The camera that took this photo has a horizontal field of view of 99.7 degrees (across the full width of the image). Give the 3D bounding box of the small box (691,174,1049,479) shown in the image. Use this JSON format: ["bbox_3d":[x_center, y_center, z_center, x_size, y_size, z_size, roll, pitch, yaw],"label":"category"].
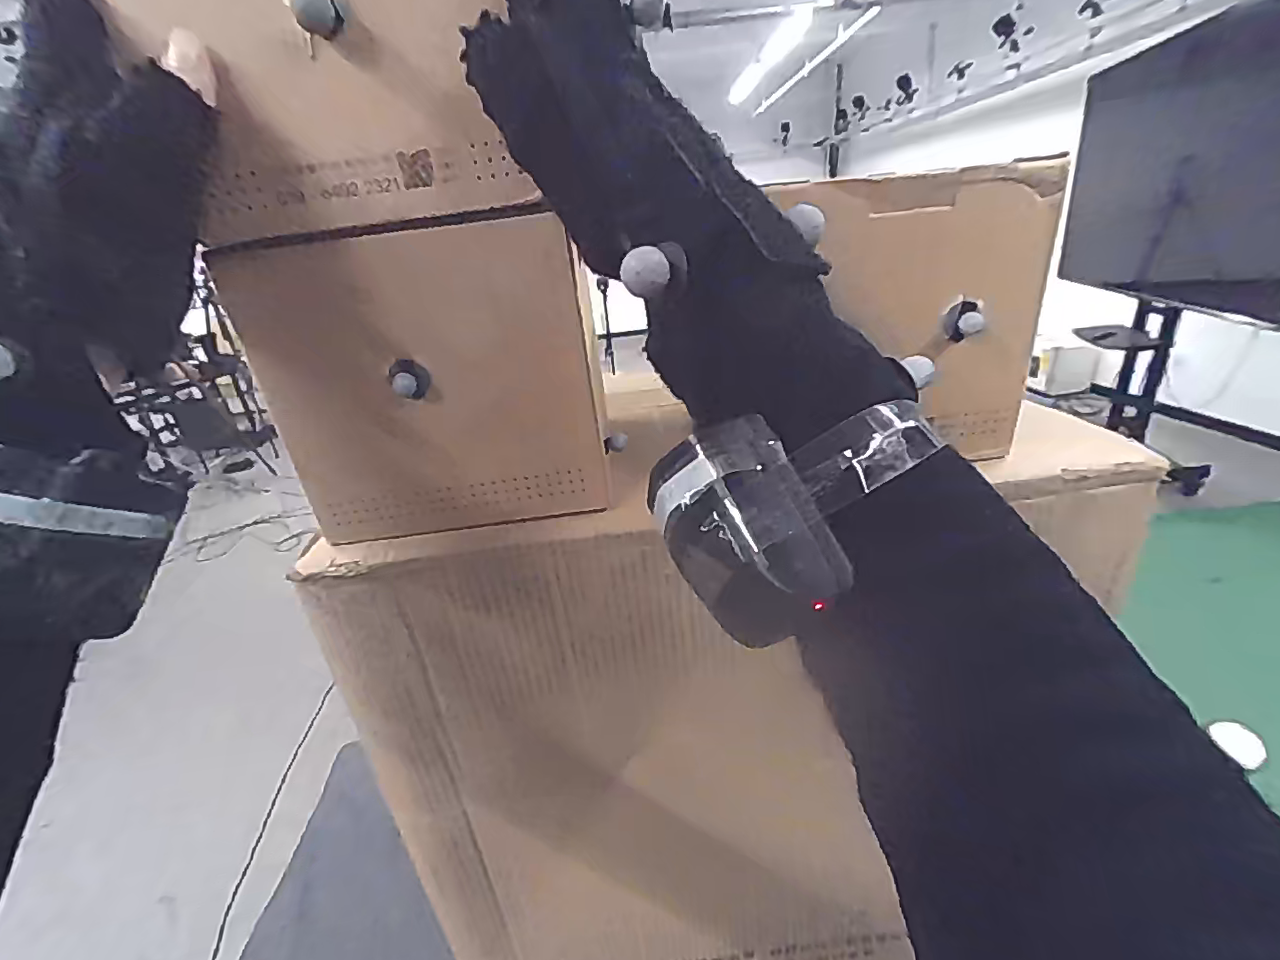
[{"bbox_3d":[0.132,-0.106,0.382,0.168,0.176,0.179,-5,25,-1],"label":"small box"}]

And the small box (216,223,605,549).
[{"bbox_3d":[-0.117,-0.072,0.366,0.179,0.176,0.168,-7,26,-4],"label":"small box"}]
